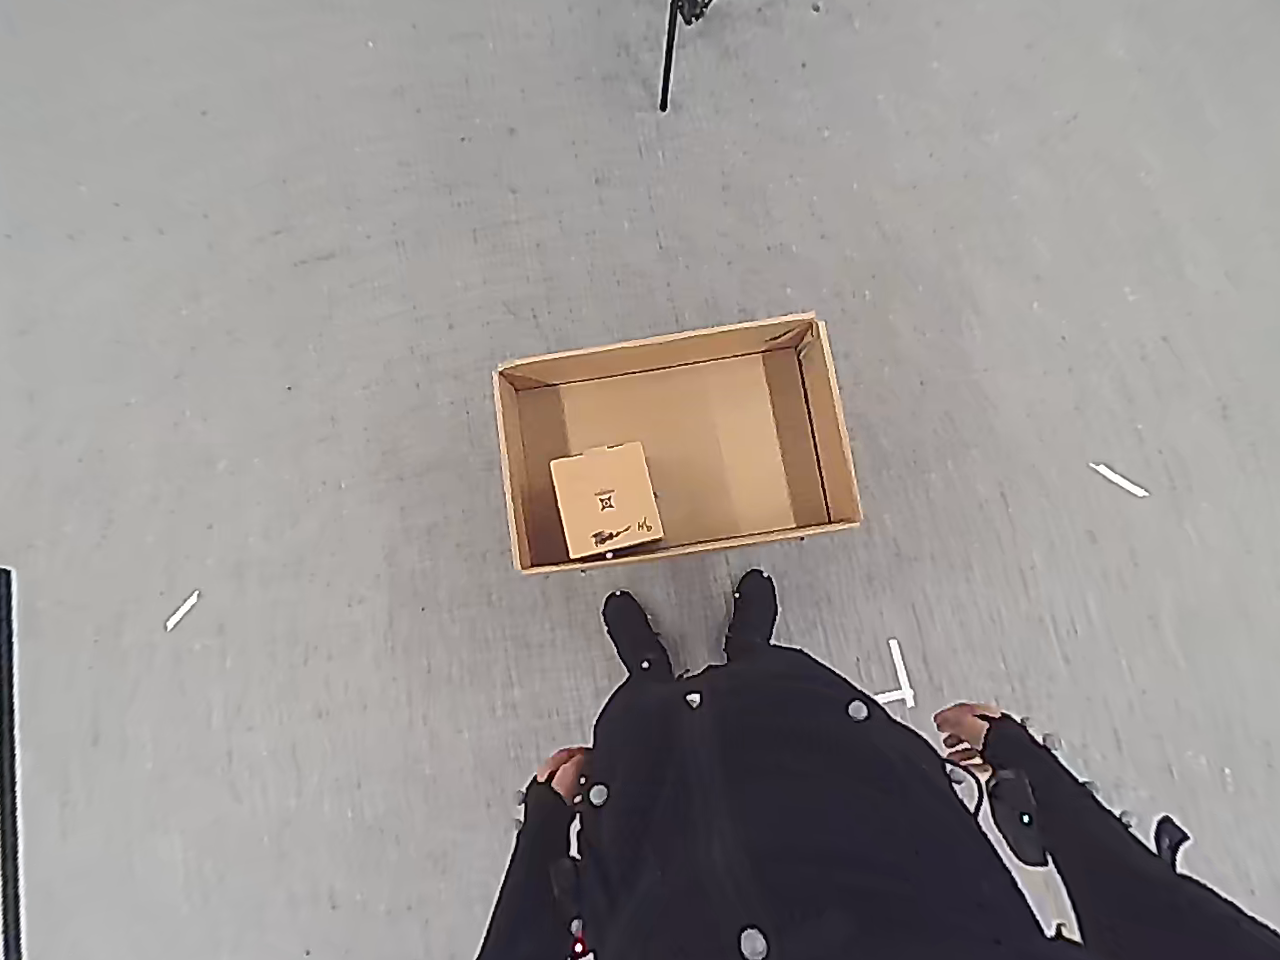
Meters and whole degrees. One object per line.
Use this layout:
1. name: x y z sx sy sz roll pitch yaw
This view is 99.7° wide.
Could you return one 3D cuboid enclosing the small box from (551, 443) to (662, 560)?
1. small box: -0.057 0.048 1.006 0.168 0.176 0.179 -14 81 1
